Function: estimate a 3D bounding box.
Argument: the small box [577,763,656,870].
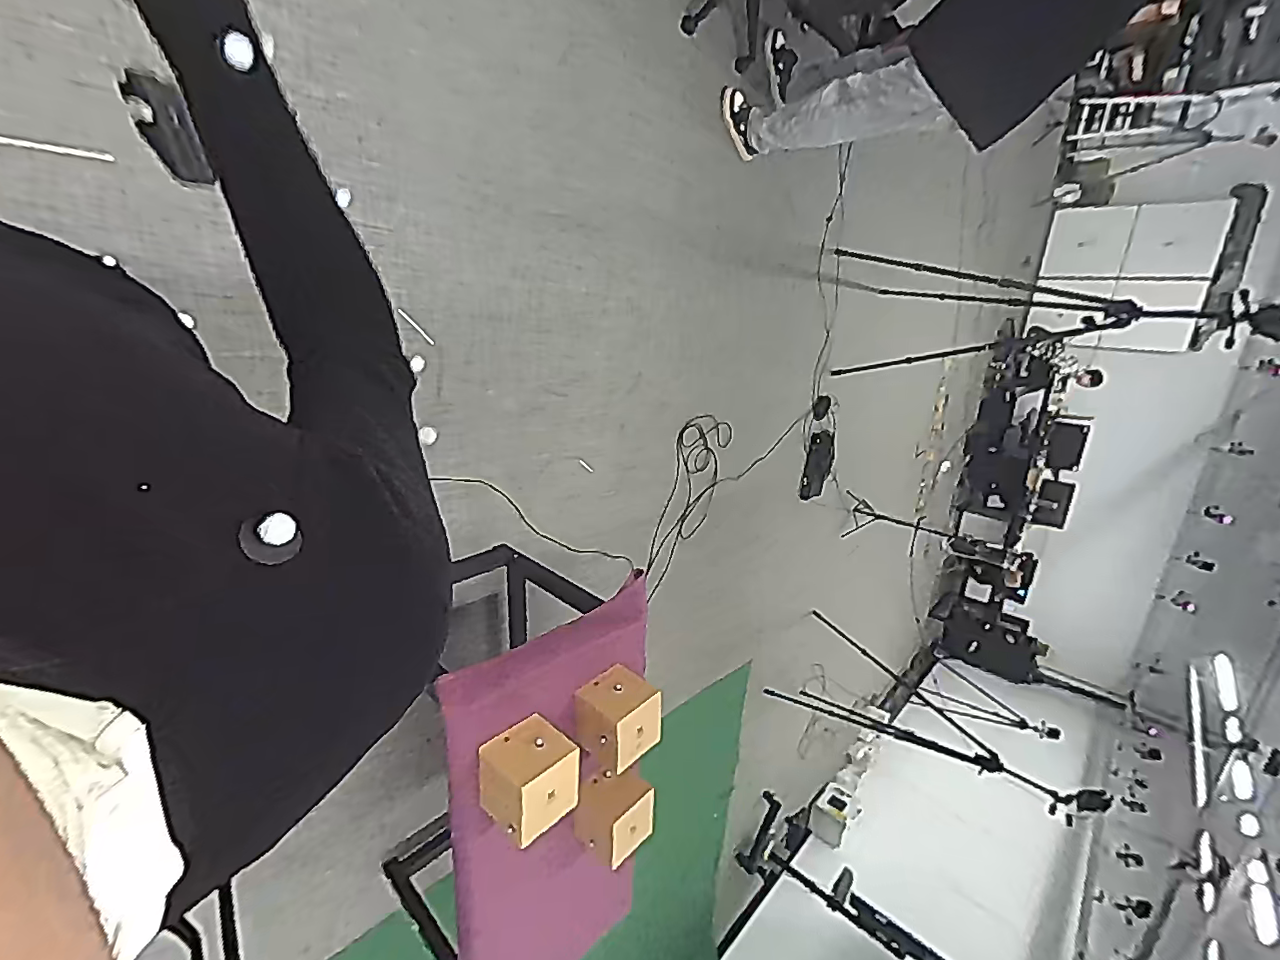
[{"bbox_3d":[-0.072,0.966,1.578,0.168,0.176,0.179,-17,115,-44],"label":"small box"}]

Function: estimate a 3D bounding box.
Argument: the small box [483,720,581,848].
[{"bbox_3d":[-0.256,0.698,1.272,0.168,0.176,0.179,-15,115,-46],"label":"small box"}]

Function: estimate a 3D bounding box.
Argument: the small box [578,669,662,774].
[{"bbox_3d":[-0.056,0.645,1.476,0.168,0.176,0.179,-18,117,-43],"label":"small box"}]
